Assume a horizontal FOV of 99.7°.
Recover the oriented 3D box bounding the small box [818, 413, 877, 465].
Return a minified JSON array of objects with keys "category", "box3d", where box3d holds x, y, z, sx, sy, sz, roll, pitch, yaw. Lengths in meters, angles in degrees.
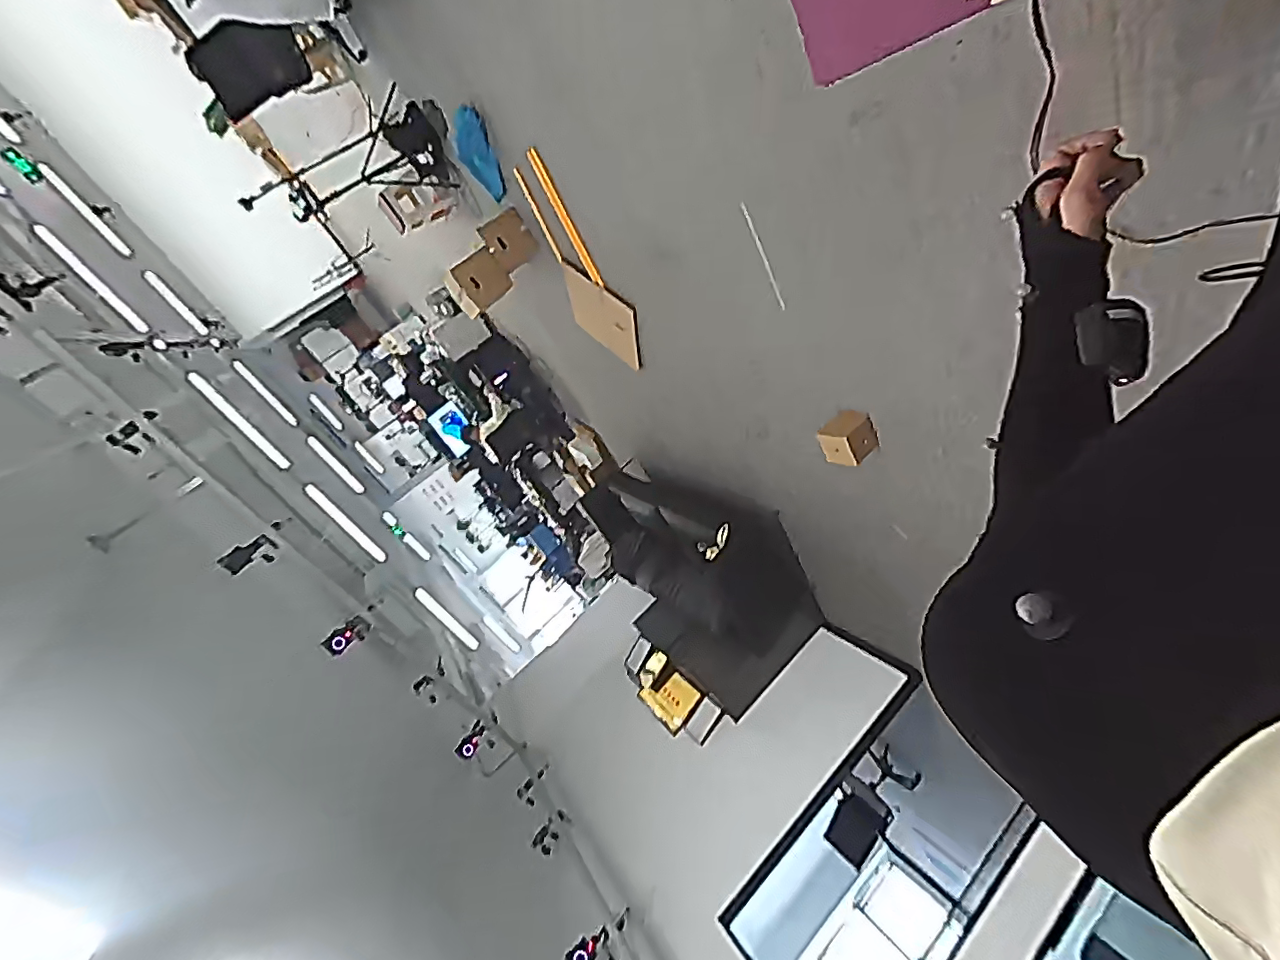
[{"category":"small box","box3d":[0.962,-0.193,2.485,0.168,0.176,0.179,57,162,-25]}]
